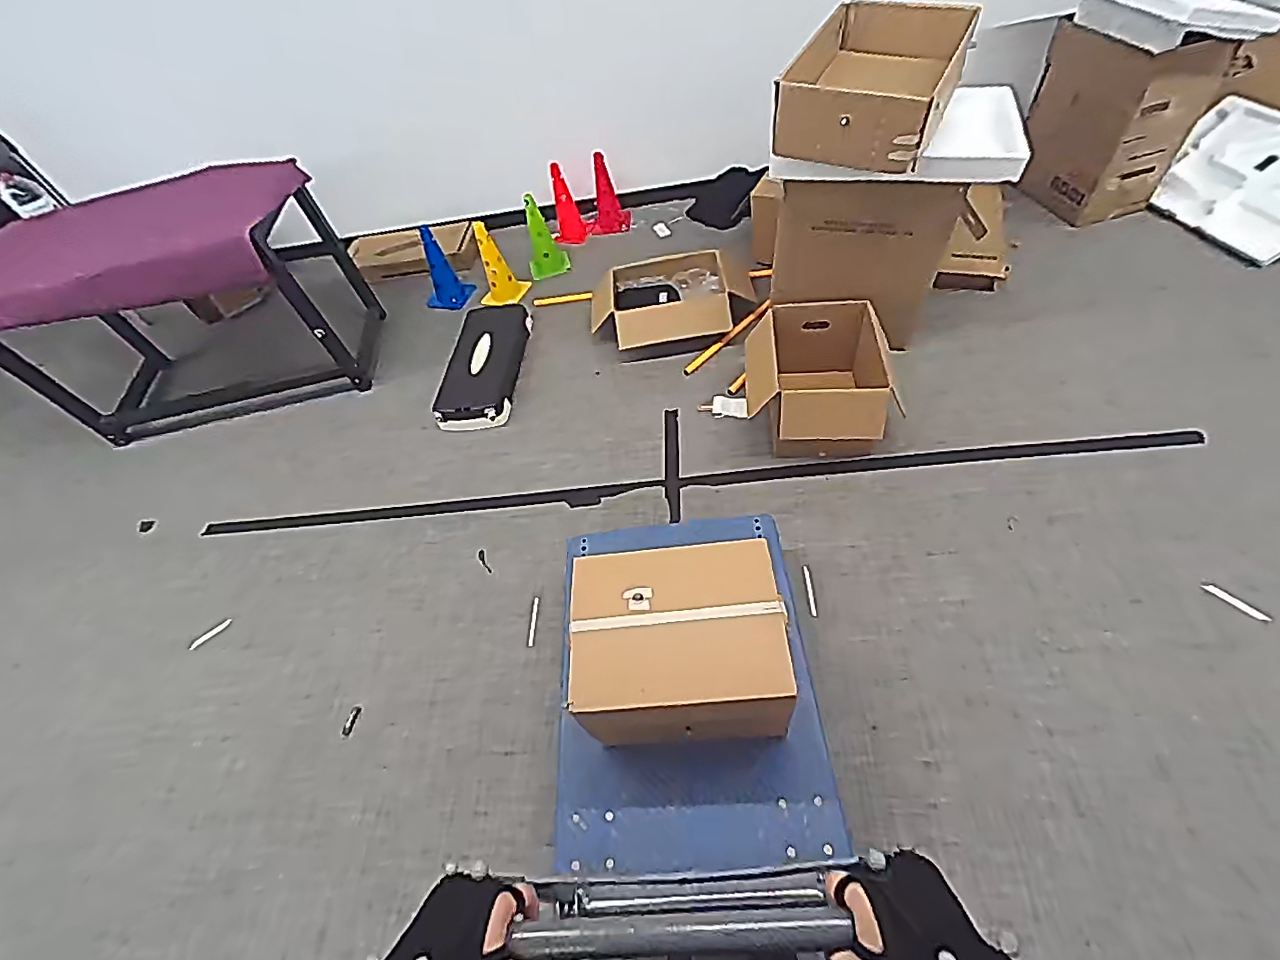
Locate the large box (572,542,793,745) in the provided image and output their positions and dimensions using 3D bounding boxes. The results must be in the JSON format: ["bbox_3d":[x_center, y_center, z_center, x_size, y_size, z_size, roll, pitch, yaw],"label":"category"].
[{"bbox_3d":[0.090,0.364,1.167,0.408,0.320,0.320,-8,52,6],"label":"large box"}]
